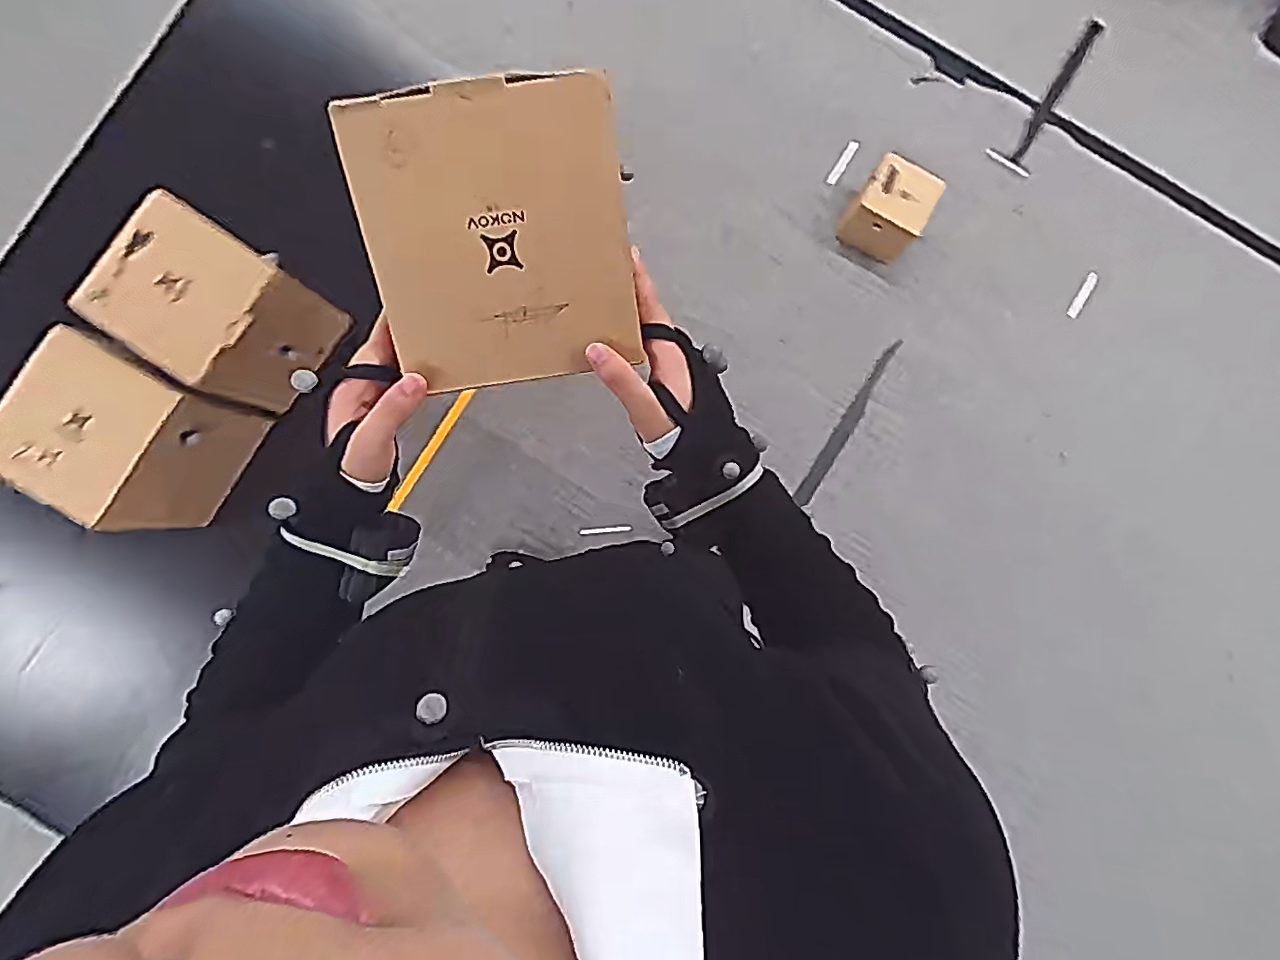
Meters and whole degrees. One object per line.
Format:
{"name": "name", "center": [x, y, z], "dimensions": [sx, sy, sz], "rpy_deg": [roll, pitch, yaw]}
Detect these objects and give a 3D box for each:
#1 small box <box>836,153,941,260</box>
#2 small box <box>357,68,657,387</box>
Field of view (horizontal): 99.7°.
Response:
{"name": "small box", "center": [0.672, -0.742, 1.487], "dimensions": [0.179, 0.176, 0.168], "rpy_deg": [29, 87, -1]}
{"name": "small box", "center": [-0.083, -0.180, 0.420], "dimensions": [0.168, 0.176, 0.179], "rpy_deg": [-7, 111, -1]}
